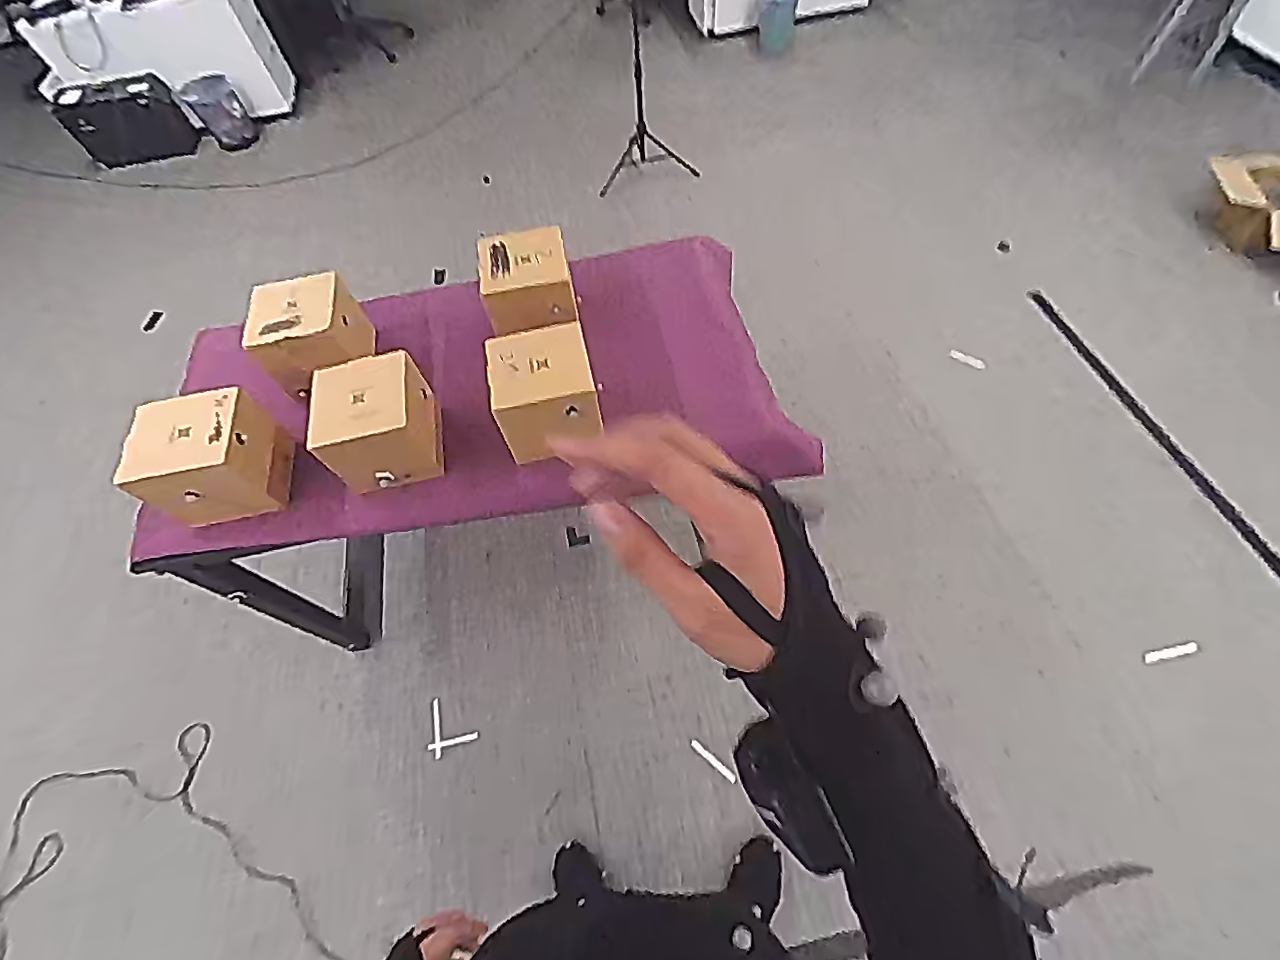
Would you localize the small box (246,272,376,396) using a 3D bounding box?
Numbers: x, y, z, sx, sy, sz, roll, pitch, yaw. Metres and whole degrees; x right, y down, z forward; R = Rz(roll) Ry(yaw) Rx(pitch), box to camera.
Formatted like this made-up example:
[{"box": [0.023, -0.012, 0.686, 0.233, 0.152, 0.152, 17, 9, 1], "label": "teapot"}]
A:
[{"box": [-0.669, -0.293, 1.120, 0.168, 0.176, 0.179, -13, 60, -3], "label": "small box"}]

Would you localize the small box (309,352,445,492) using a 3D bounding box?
[{"box": [-0.473, -0.103, 0.996, 0.168, 0.176, 0.179, -14, 62, -2], "label": "small box"}]

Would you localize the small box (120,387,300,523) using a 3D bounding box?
[{"box": [-0.762, -0.038, 0.979, 0.179, 0.176, 0.168, -13, 61, -2], "label": "small box"}]

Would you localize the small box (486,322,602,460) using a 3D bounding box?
[{"box": [-0.170, -0.159, 1.000, 0.179, 0.176, 0.168, -13, 60, -2], "label": "small box"}]
